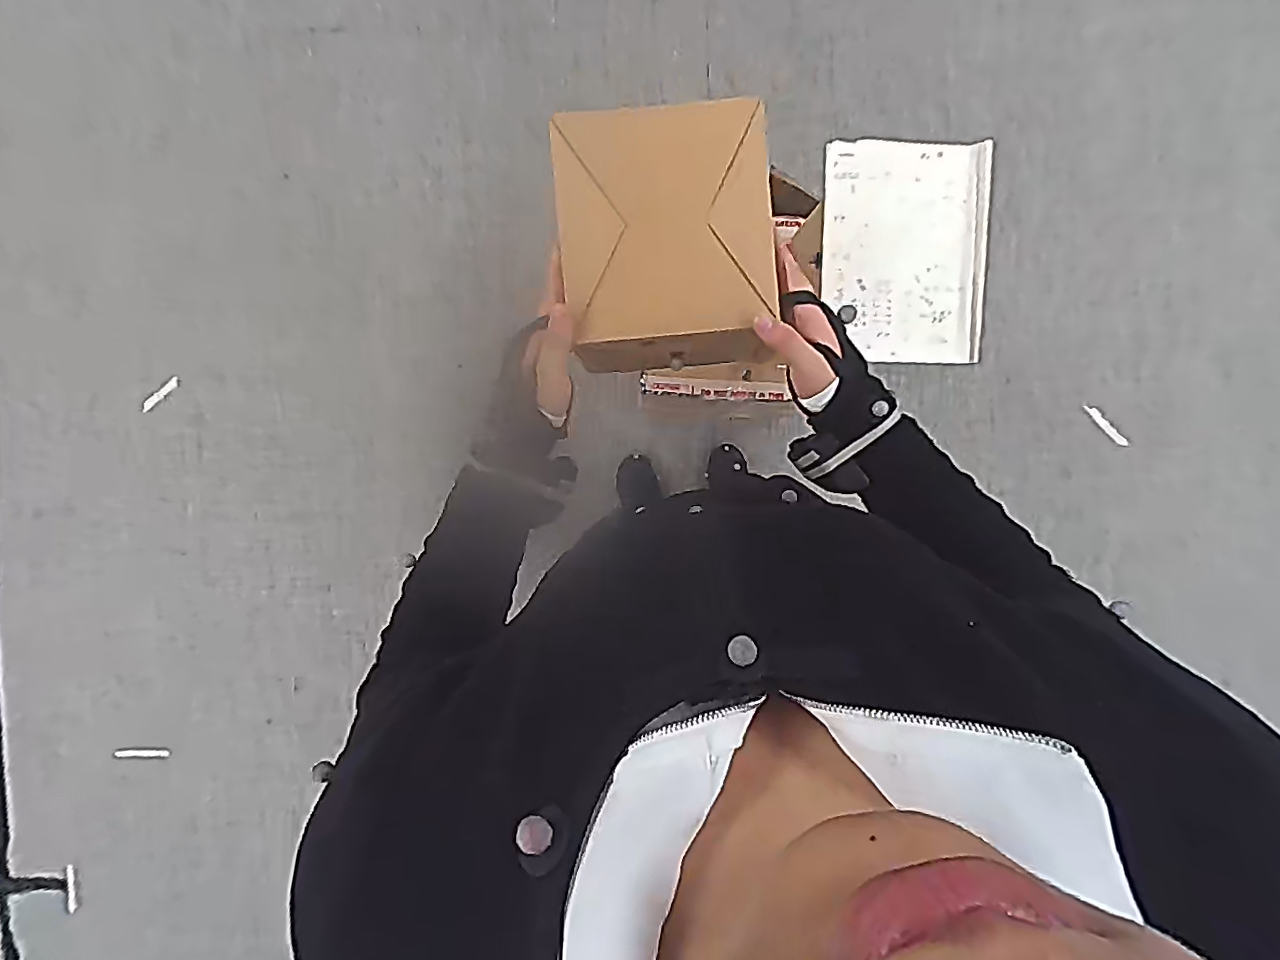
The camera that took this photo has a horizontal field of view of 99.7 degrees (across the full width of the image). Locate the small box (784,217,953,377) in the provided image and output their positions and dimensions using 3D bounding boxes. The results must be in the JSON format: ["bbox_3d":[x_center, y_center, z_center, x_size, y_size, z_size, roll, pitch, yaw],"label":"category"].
[{"bbox_3d":[0.312,-0.248,0.770,0.168,0.176,0.179,1,94,-2],"label":"small box"}]
